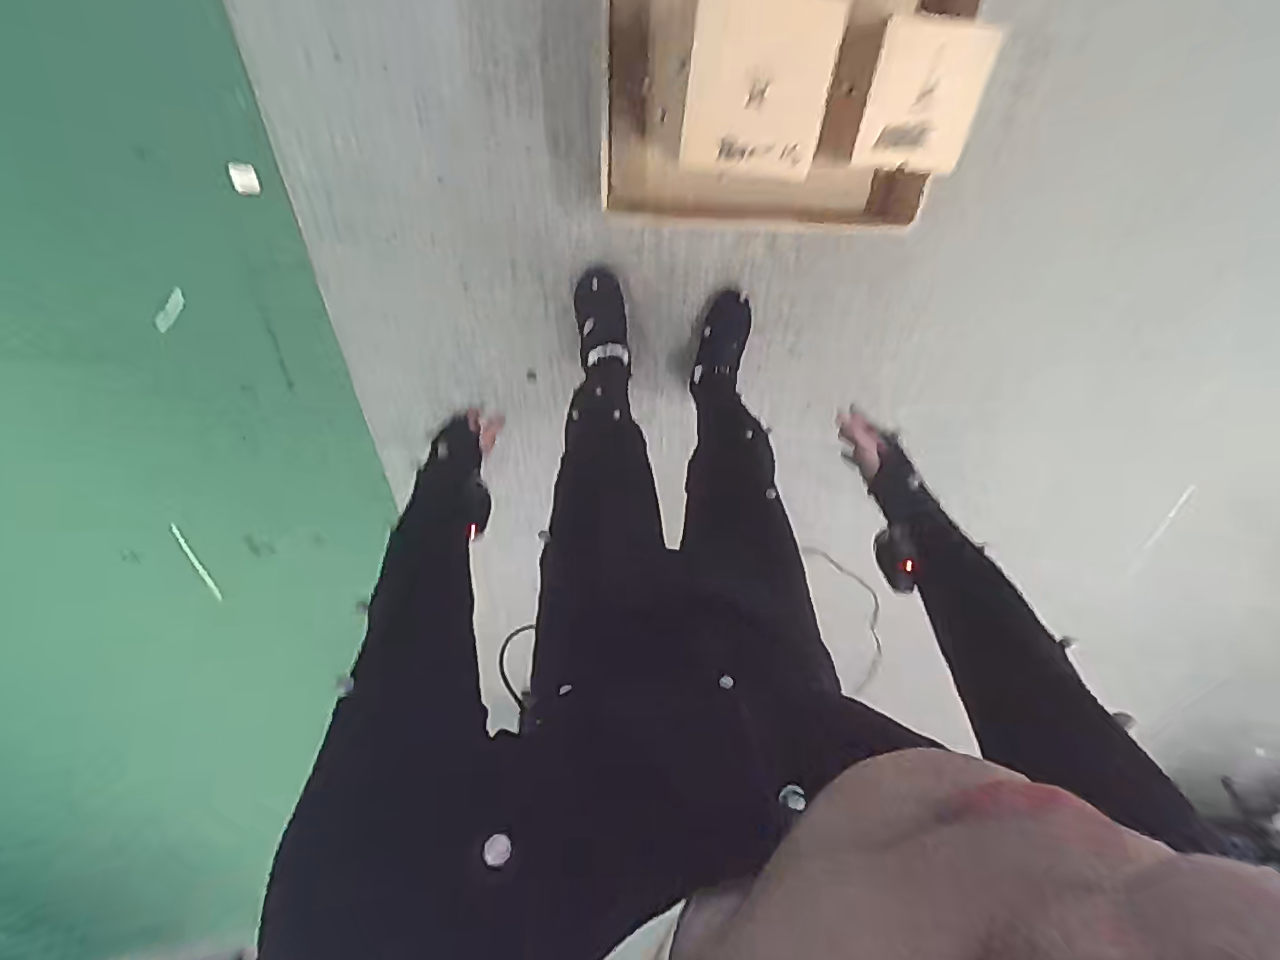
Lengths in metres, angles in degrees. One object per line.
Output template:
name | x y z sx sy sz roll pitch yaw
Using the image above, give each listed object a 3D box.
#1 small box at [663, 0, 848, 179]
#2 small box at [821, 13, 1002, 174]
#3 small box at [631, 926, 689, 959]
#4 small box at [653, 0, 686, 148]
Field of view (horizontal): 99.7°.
small box | 0.127 -0.488 0.675 0.168 0.176 0.179 2 123 -8
small box | 0.396 -0.584 0.831 0.168 0.176 0.179 2 123 -5
small box | 0.067 1.467 1.616 0.168 0.176 0.179 -7 125 -1
small box | 0.114 -0.589 0.804 0.168 0.176 0.179 0 124 -6
